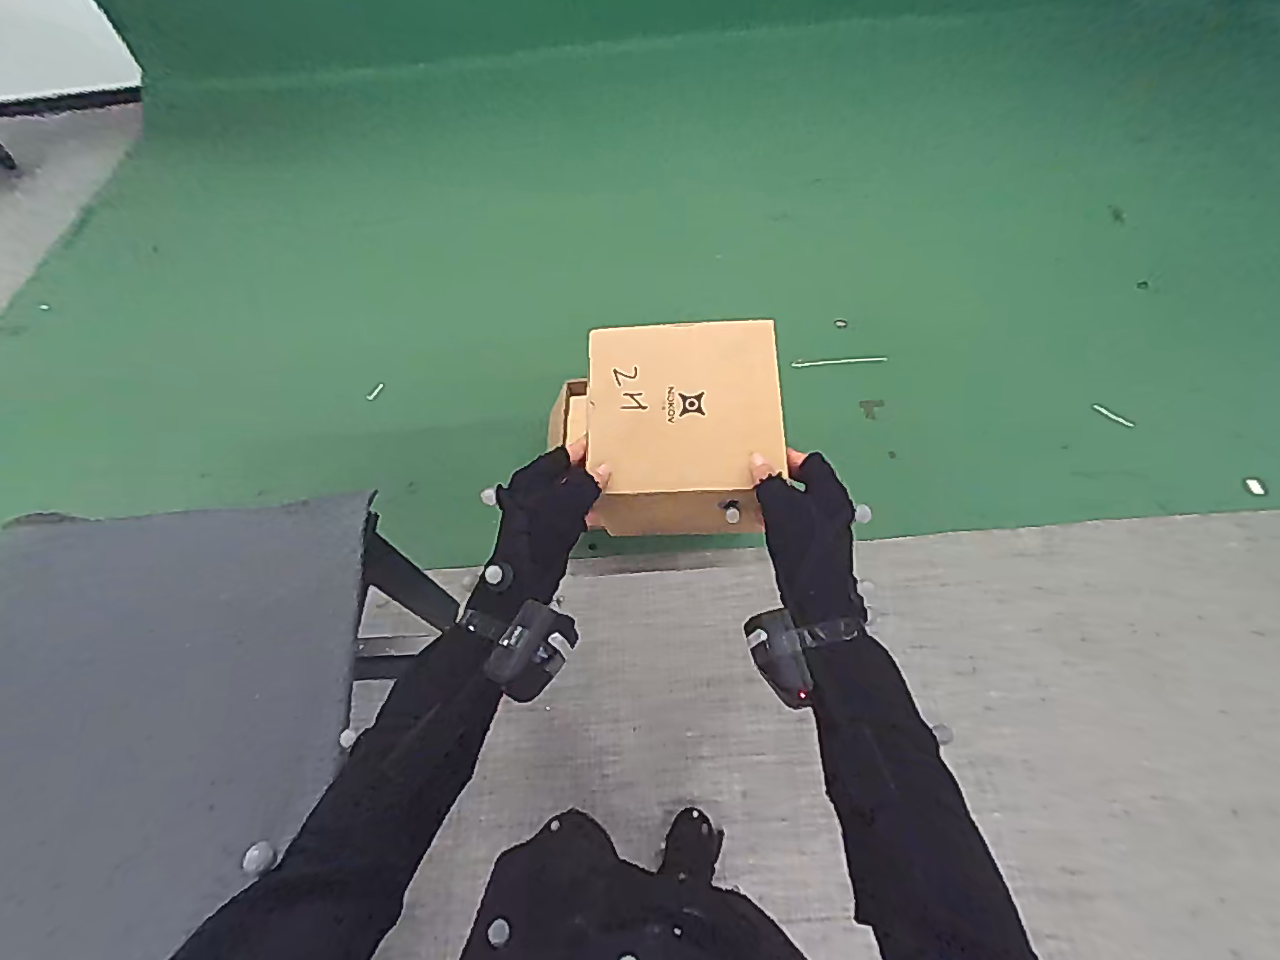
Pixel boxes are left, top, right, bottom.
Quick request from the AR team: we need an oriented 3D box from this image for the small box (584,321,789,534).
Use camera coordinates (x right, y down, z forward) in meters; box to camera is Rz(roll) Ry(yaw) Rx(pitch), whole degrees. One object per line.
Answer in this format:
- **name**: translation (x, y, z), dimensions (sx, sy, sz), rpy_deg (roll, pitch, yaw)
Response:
- **small box**: translation (0.045, -0.042, 0.557), dimensions (0.179, 0.176, 0.168), rpy_deg (-2, 71, 5)
